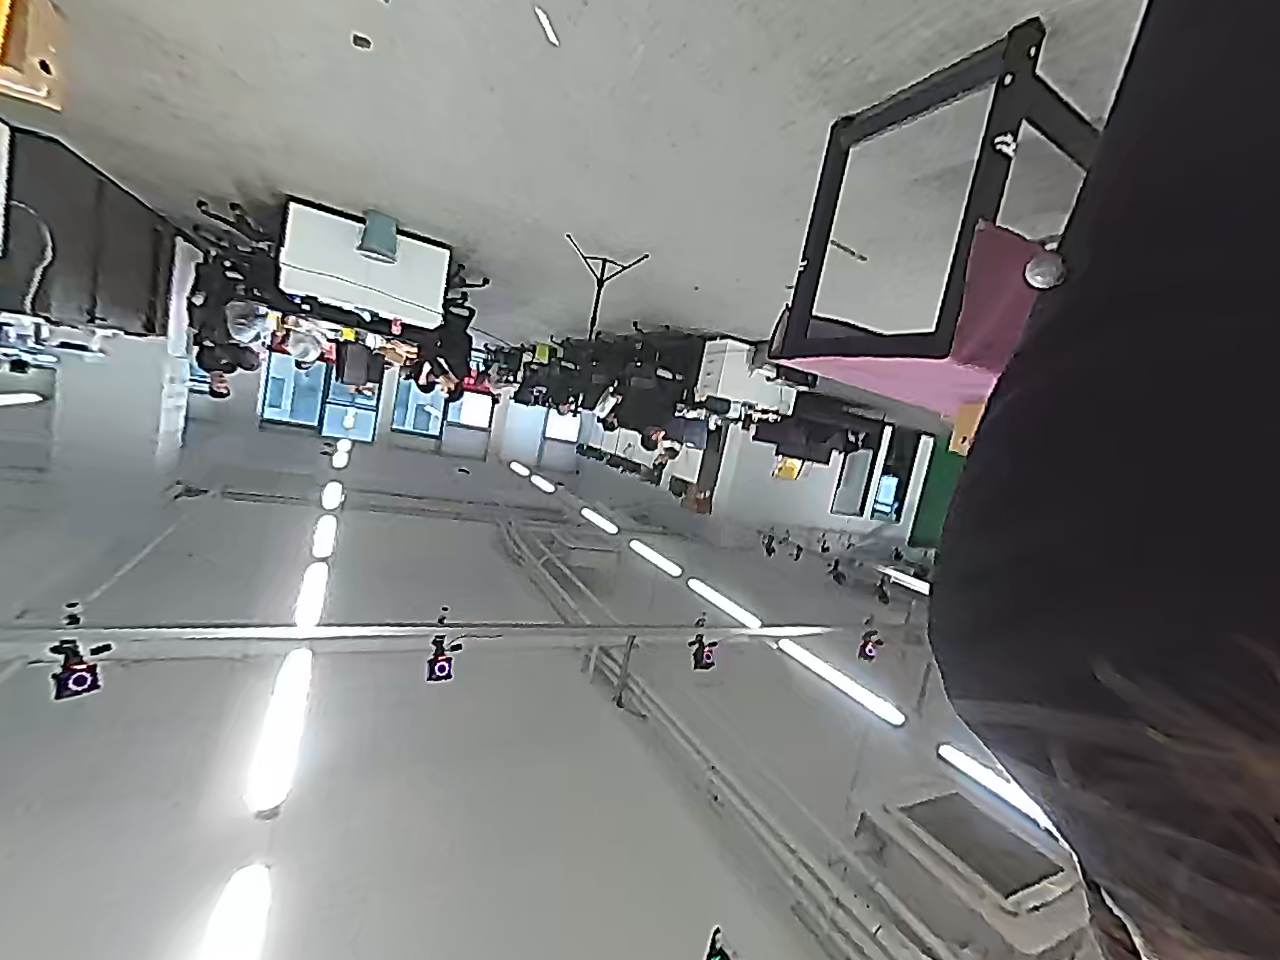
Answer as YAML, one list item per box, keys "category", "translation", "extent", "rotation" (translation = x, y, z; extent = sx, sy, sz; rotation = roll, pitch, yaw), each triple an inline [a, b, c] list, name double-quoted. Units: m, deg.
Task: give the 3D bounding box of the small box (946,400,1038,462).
- category: "small box"
  translation: [1.160, -0.166, 1.782]
  extent: [0.168, 0.176, 0.179]
  rotation: [8, -173, -24]
